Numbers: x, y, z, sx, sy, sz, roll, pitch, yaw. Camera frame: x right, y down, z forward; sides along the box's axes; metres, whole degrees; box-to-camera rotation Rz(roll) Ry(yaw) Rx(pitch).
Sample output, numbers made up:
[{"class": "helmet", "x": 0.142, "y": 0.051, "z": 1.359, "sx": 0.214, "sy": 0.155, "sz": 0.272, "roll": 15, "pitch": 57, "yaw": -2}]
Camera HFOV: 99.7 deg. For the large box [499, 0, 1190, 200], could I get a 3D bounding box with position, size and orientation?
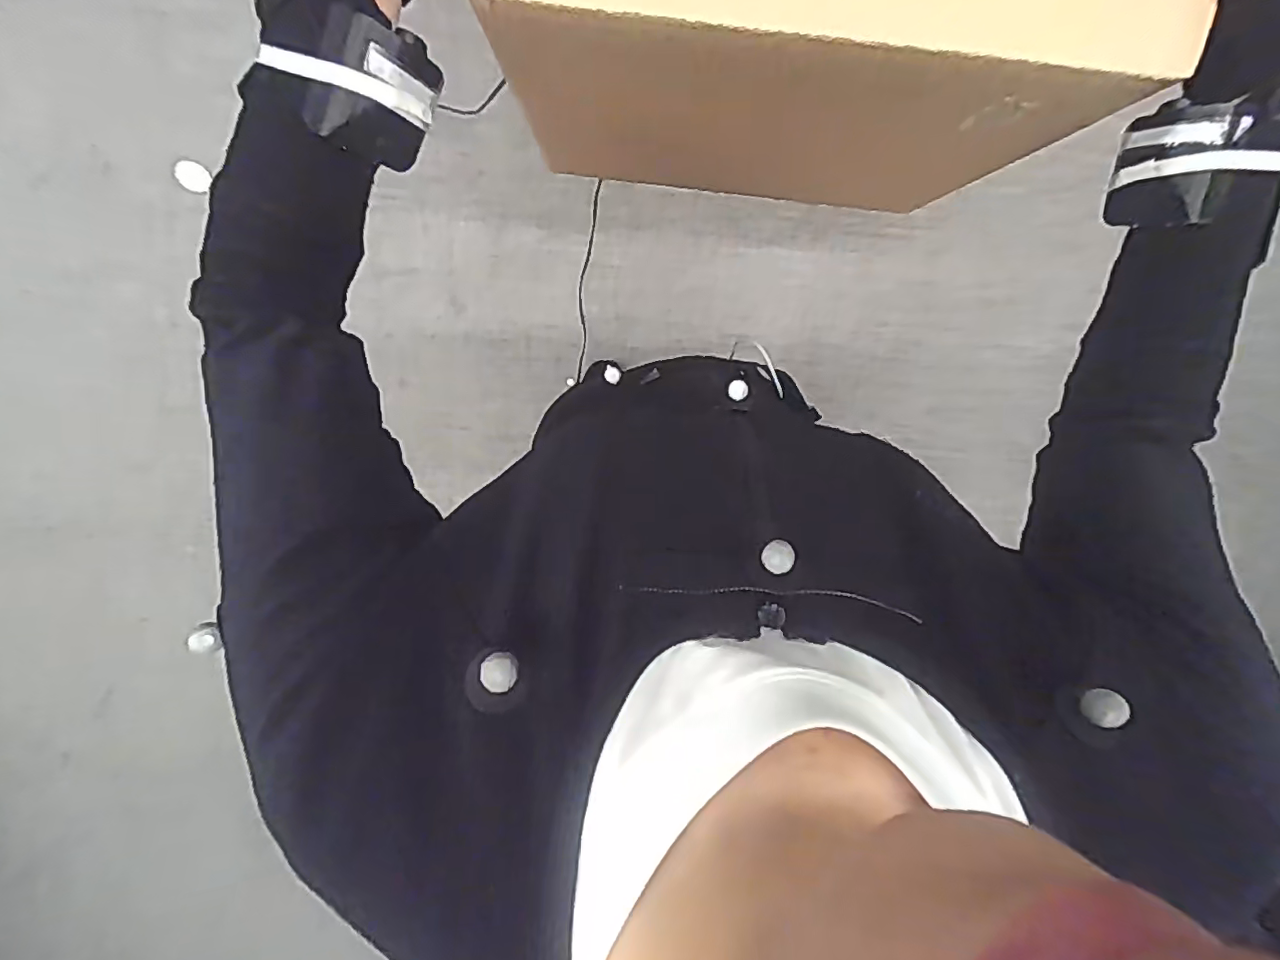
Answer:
[{"class": "large box", "x": 0.118, "y": -0.435, "z": 0.415, "sx": 0.408, "sy": 0.320, "sz": 0.320, "roll": 4, "pitch": 104, "yaw": -3}]
